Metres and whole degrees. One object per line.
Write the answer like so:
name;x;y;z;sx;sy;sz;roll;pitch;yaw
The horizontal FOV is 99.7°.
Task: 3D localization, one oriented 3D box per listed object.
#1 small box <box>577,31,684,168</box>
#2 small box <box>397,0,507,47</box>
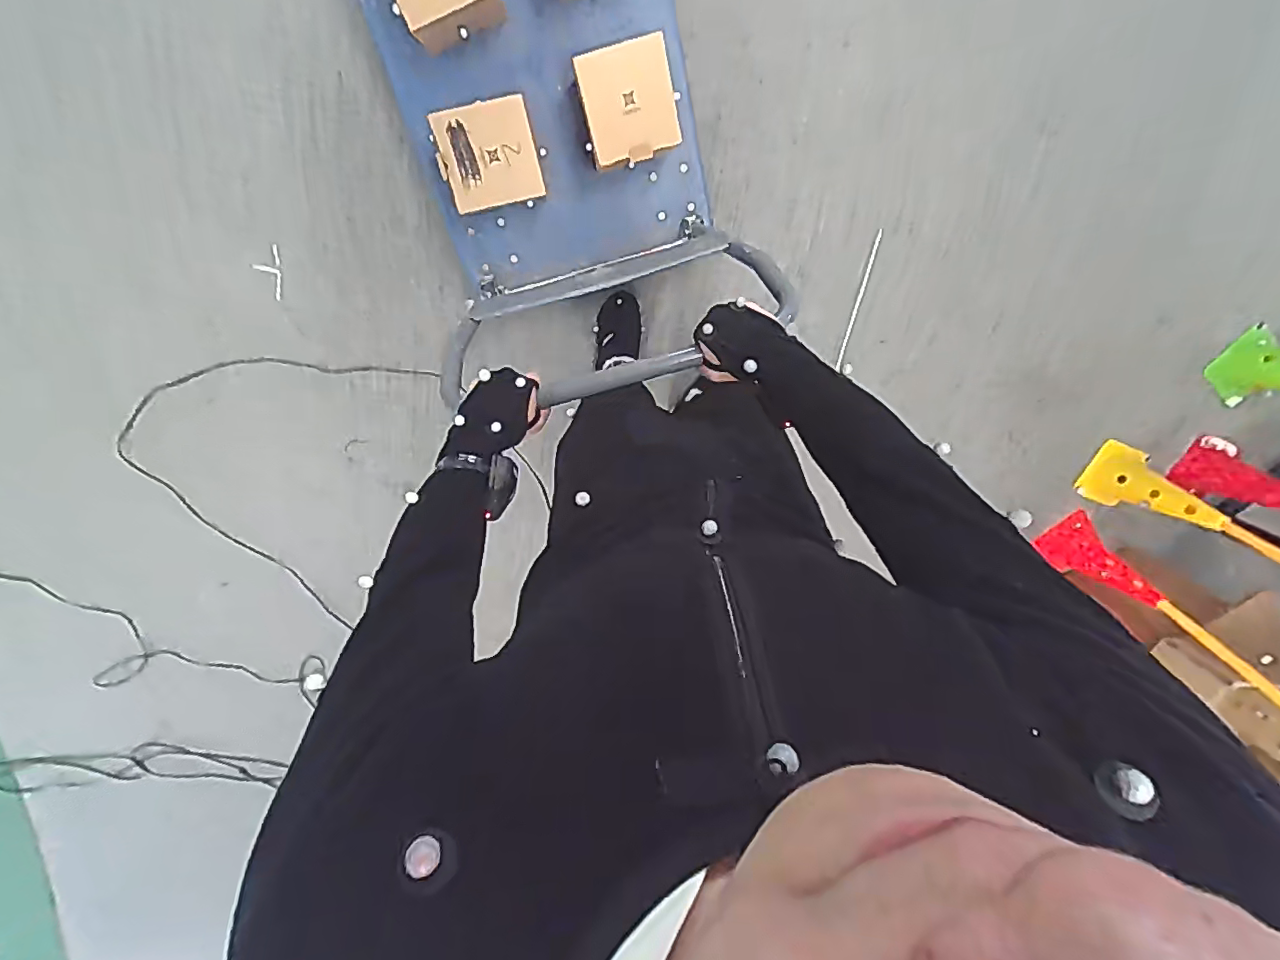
small box;-0.023;-0.727;1.054;0.168;0.176;0.179;-16;119;2
small box;-0.345;-0.886;0.932;0.168;0.176;0.179;-22;118;4
